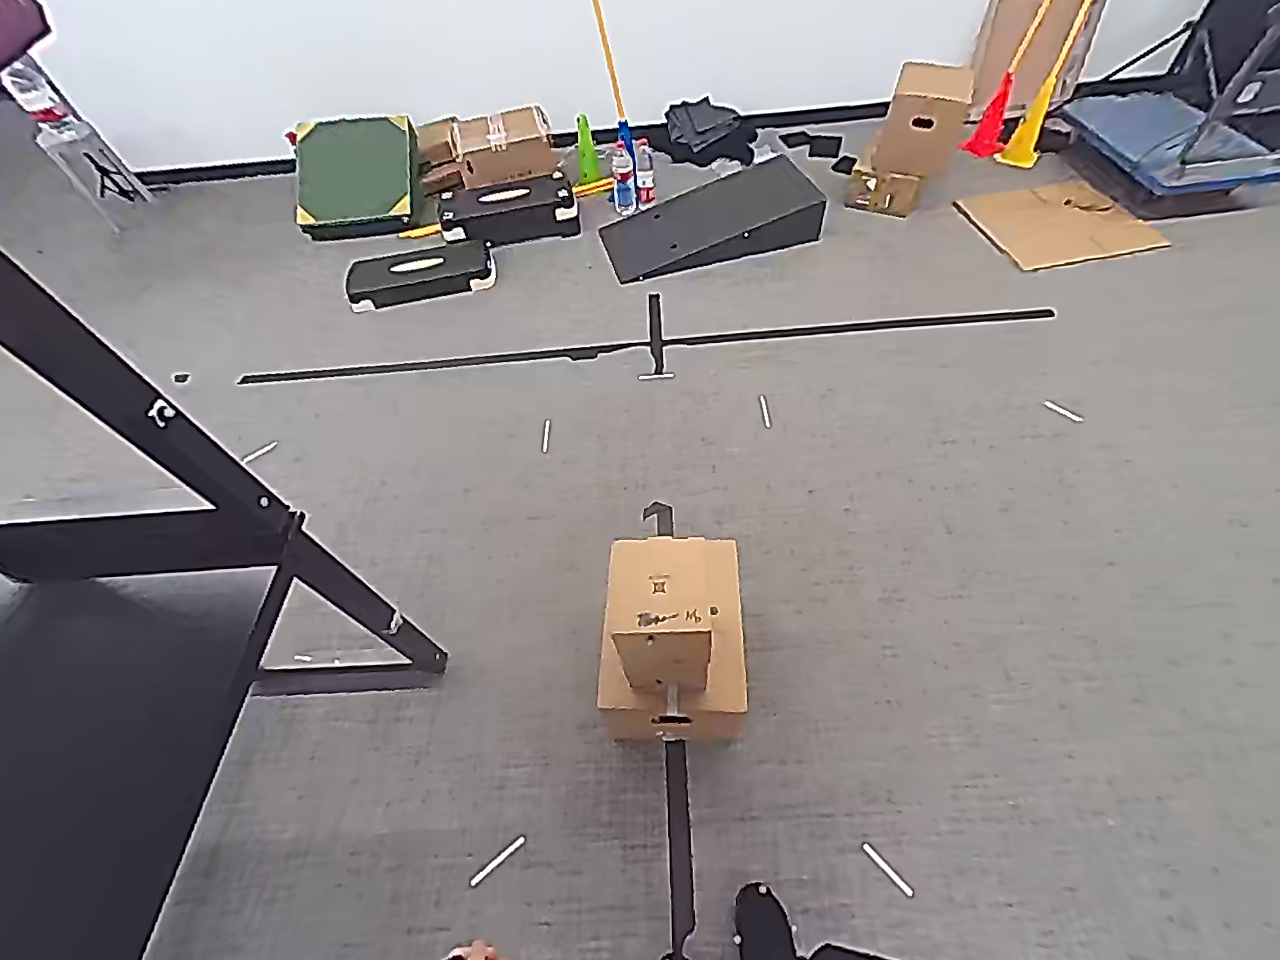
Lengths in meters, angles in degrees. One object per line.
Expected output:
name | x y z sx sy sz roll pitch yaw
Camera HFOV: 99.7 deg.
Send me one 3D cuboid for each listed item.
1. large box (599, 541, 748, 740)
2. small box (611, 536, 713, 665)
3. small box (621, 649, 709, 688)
large box | 0.082 0.401 1.342 0.320 0.320 0.408 0 53 4
small box | 0.043 0.218 0.972 0.168 0.176 0.179 -3 53 5
small box | 0.055 0.311 1.107 0.168 0.176 0.179 -1 54 6
